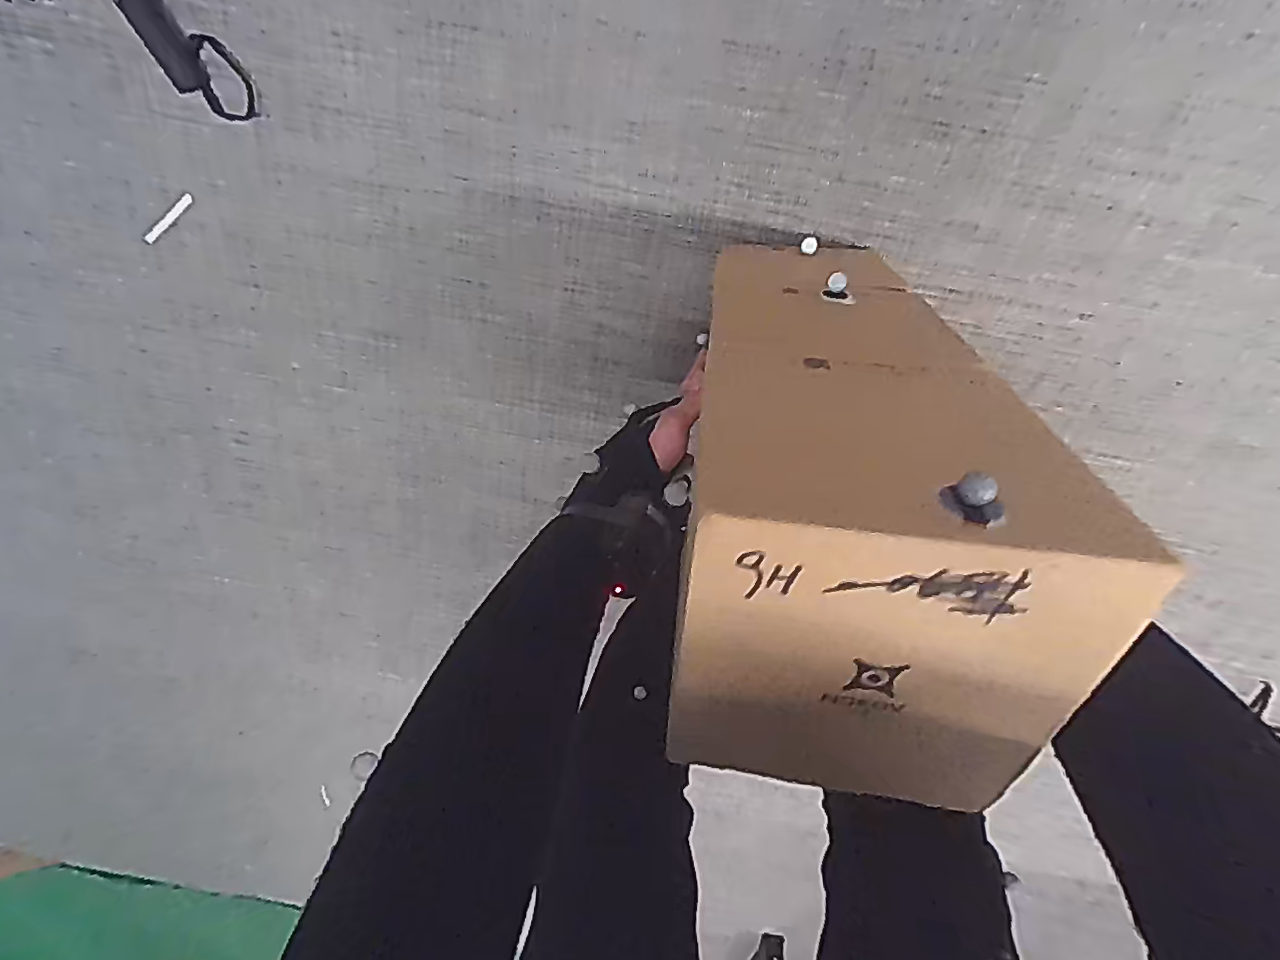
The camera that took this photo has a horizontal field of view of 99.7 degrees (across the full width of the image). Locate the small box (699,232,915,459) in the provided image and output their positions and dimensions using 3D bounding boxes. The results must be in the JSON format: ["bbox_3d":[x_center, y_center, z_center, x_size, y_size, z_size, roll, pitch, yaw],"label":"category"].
[{"bbox_3d":[0.157,-0.145,0.563,0.168,0.176,0.179,6,124,6],"label":"small box"}]
